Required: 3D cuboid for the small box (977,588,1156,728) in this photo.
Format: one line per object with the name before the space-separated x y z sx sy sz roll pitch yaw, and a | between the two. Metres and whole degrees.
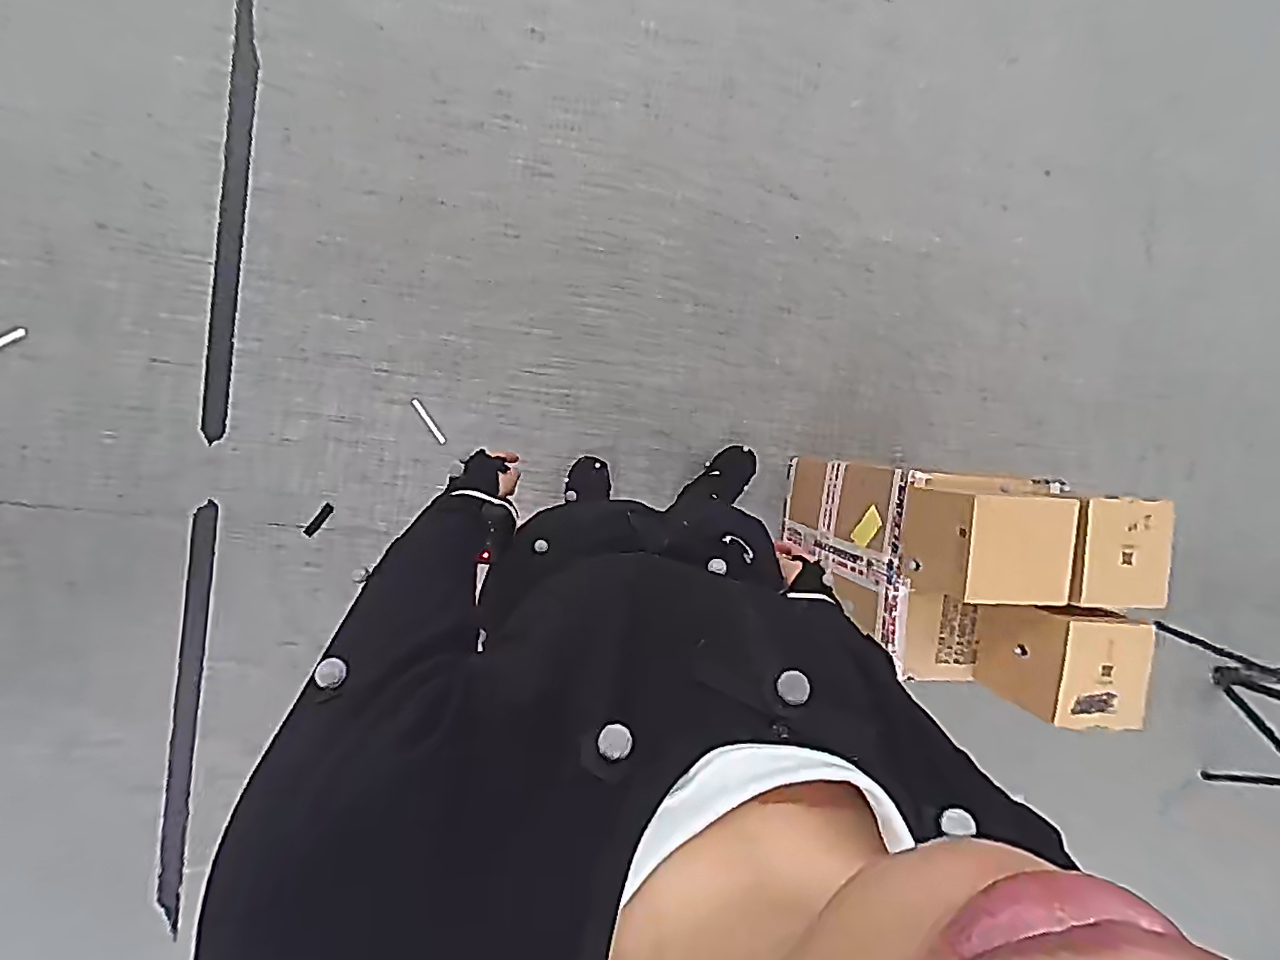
small box | 0.727 0.303 0.941 0.168 0.176 0.179 5 95 -9
